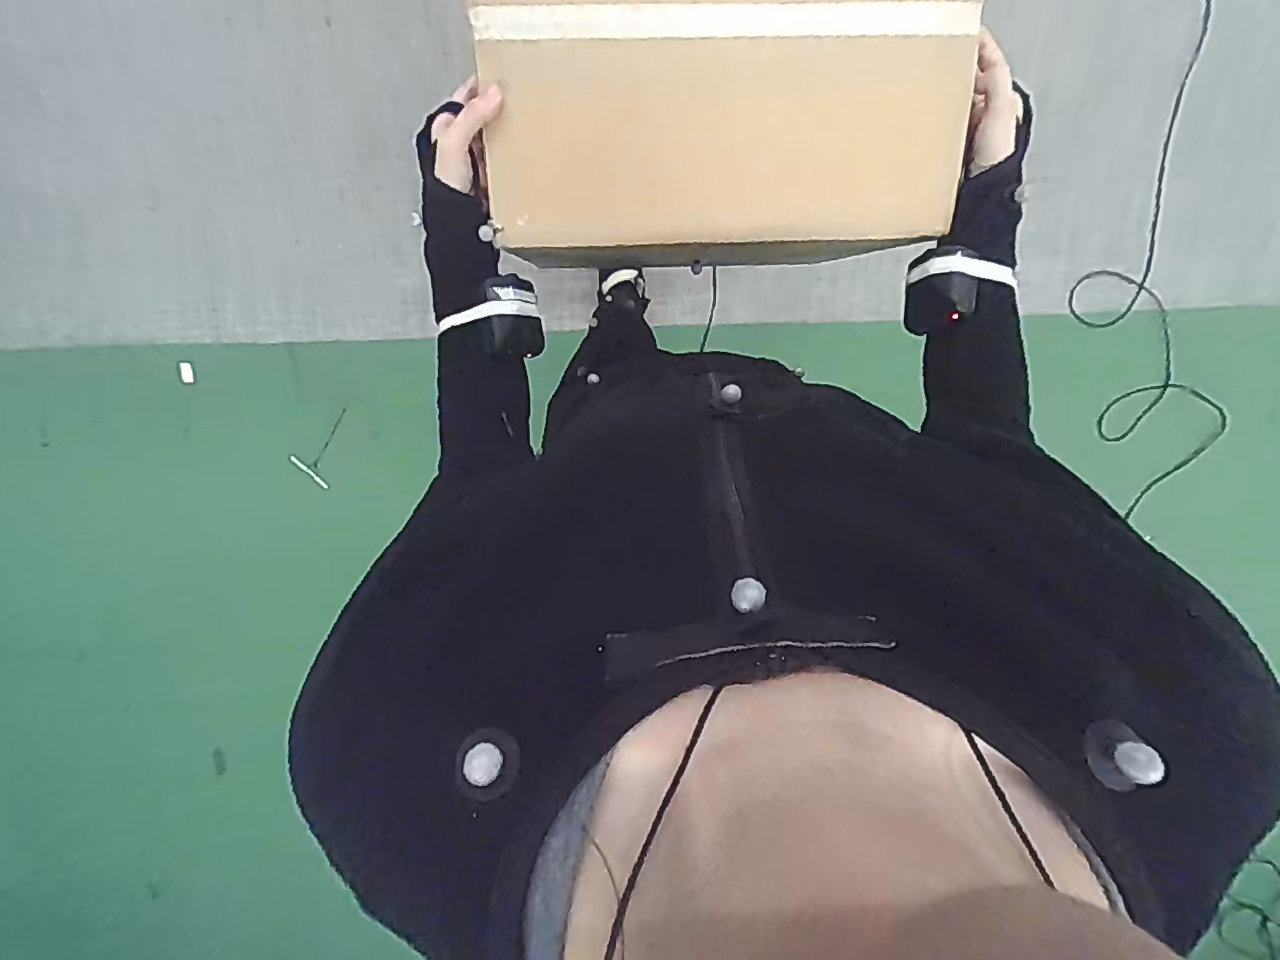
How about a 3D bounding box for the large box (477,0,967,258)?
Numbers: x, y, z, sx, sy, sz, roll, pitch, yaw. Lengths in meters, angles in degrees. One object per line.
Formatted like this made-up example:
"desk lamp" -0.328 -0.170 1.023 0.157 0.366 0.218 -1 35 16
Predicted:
"large box" 0.064 -0.418 0.579 0.408 0.320 0.320 -2 108 -2
